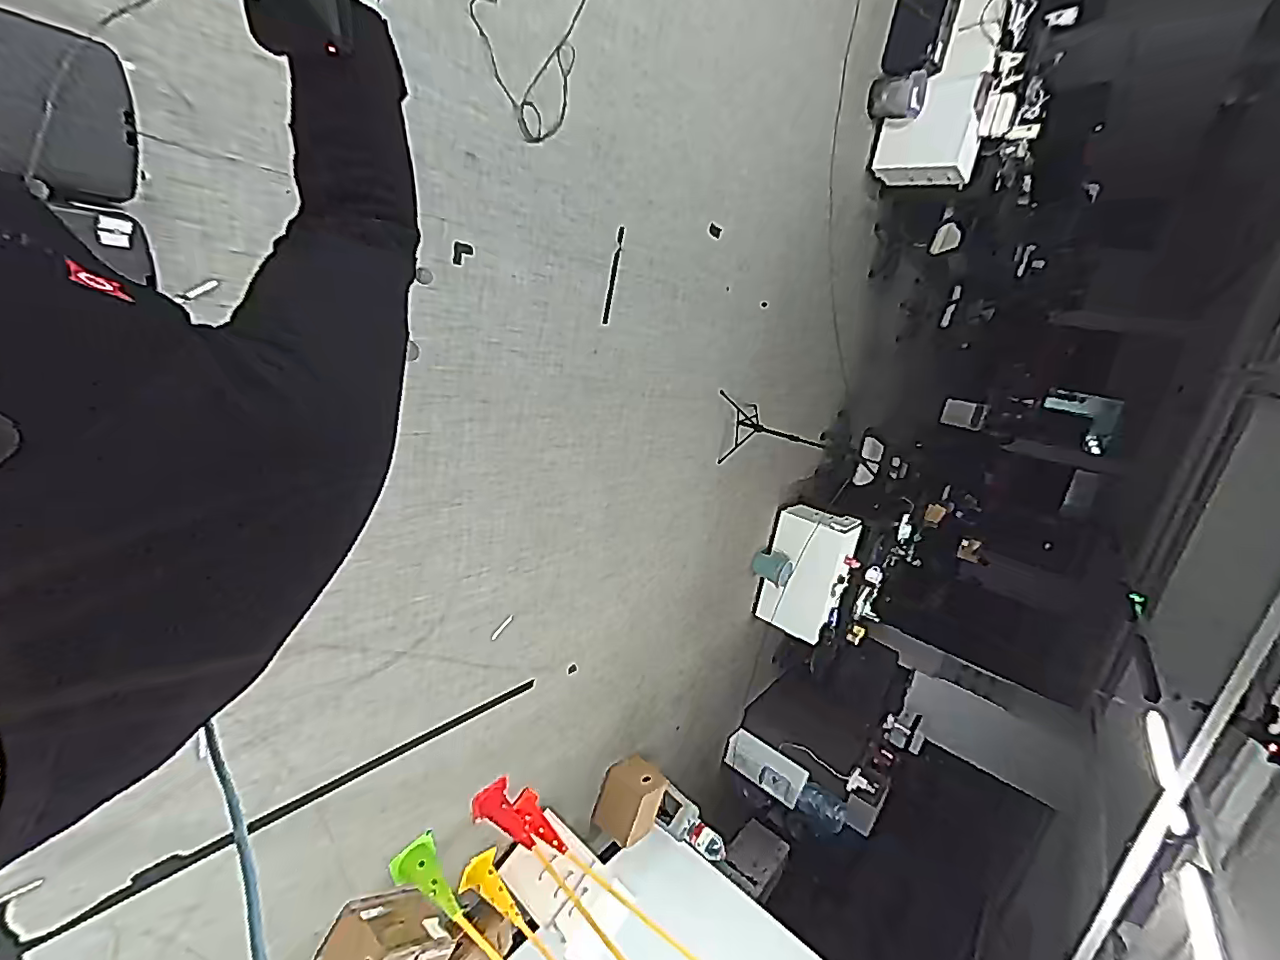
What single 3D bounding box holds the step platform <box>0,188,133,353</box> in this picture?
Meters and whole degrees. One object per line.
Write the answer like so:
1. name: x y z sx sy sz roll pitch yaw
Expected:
1. step platform: -1.293 -0.369 0.881 0.684 0.204 0.286 -11 116 -49
